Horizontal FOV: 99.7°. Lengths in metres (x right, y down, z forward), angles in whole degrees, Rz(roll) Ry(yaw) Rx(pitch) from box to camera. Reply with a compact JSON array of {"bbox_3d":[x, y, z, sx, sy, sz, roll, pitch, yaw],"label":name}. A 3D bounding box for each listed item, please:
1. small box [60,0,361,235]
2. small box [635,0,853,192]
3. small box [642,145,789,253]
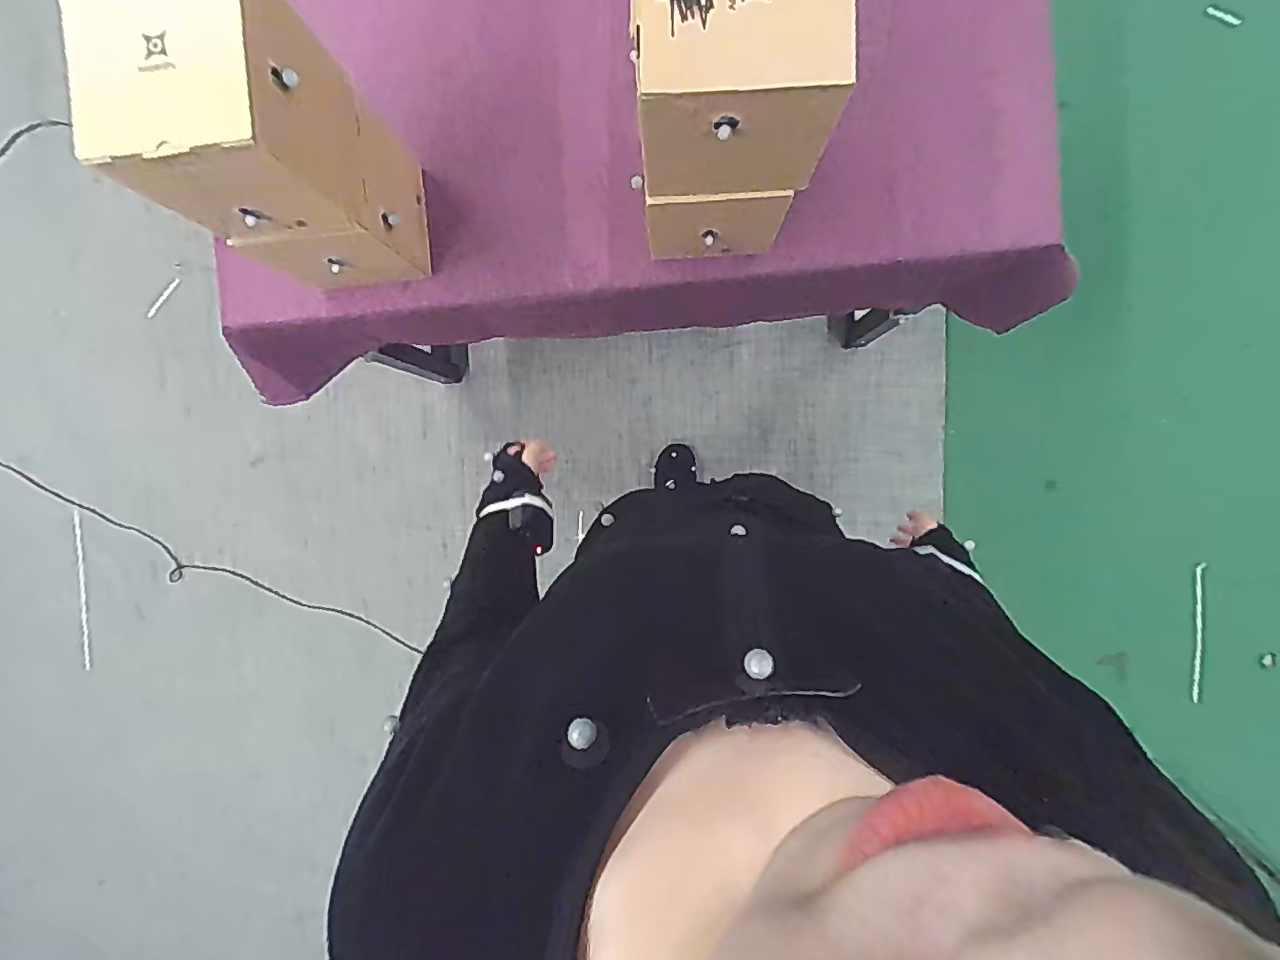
[{"bbox_3d":[-0.409,-0.372,0.542,0.168,0.176,0.179,-4,92,3],"label":"small box"},{"bbox_3d":[0.088,-0.396,0.513,0.179,0.176,0.168,-1,92,3],"label":"small box"},{"bbox_3d":[0.089,-0.398,0.678,0.168,0.176,0.179,-1,92,3],"label":"small box"}]
